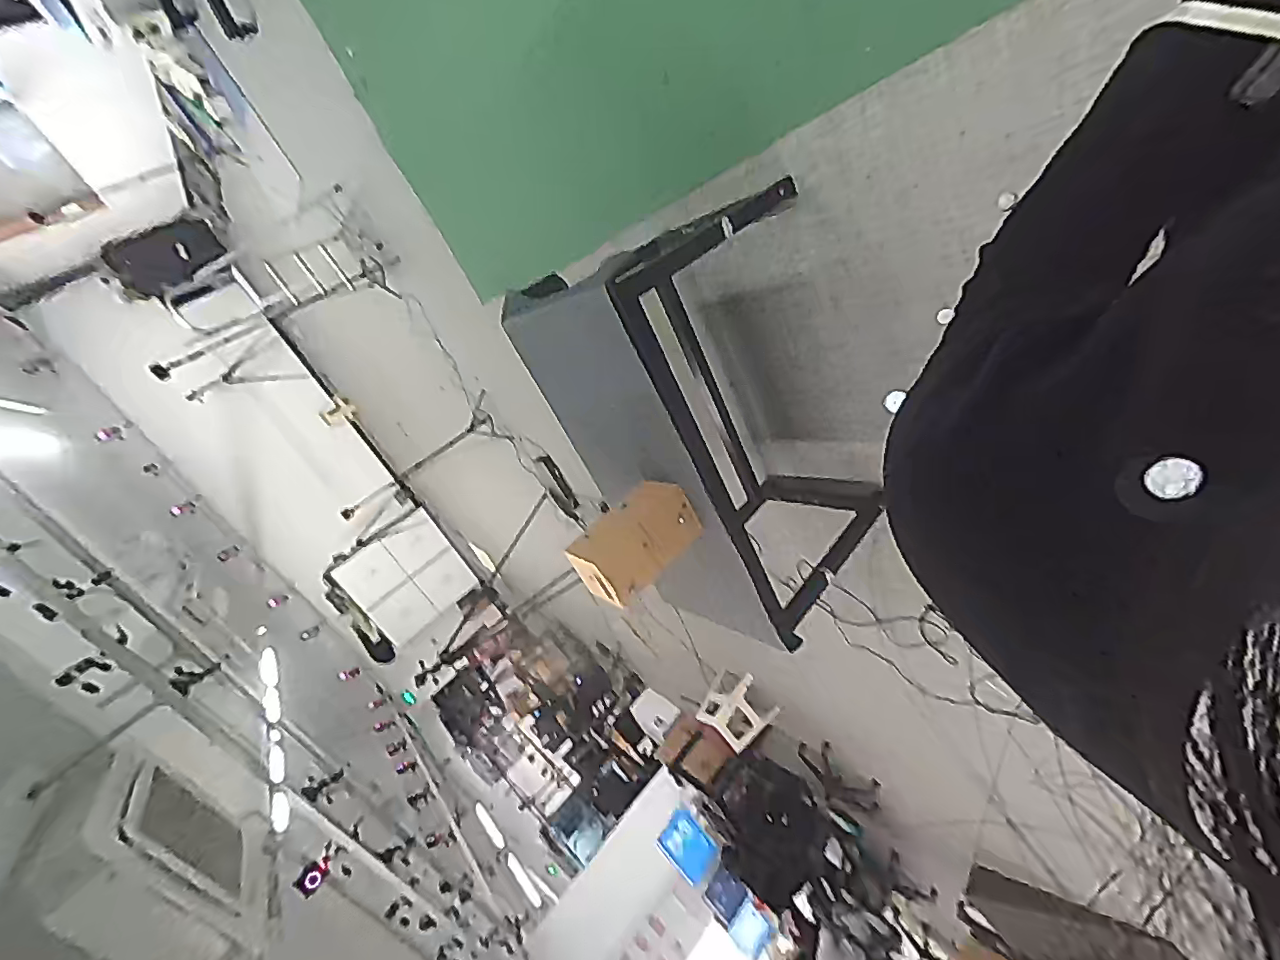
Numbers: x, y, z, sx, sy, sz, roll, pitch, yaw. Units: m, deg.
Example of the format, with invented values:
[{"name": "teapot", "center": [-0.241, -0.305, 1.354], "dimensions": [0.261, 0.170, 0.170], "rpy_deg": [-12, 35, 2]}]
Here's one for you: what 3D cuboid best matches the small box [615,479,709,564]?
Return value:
[{"name": "small box", "center": [0.066, 0.113, 1.563], "dimensions": [0.179, 0.176, 0.168], "rpy_deg": [6, 133, 55]}]
